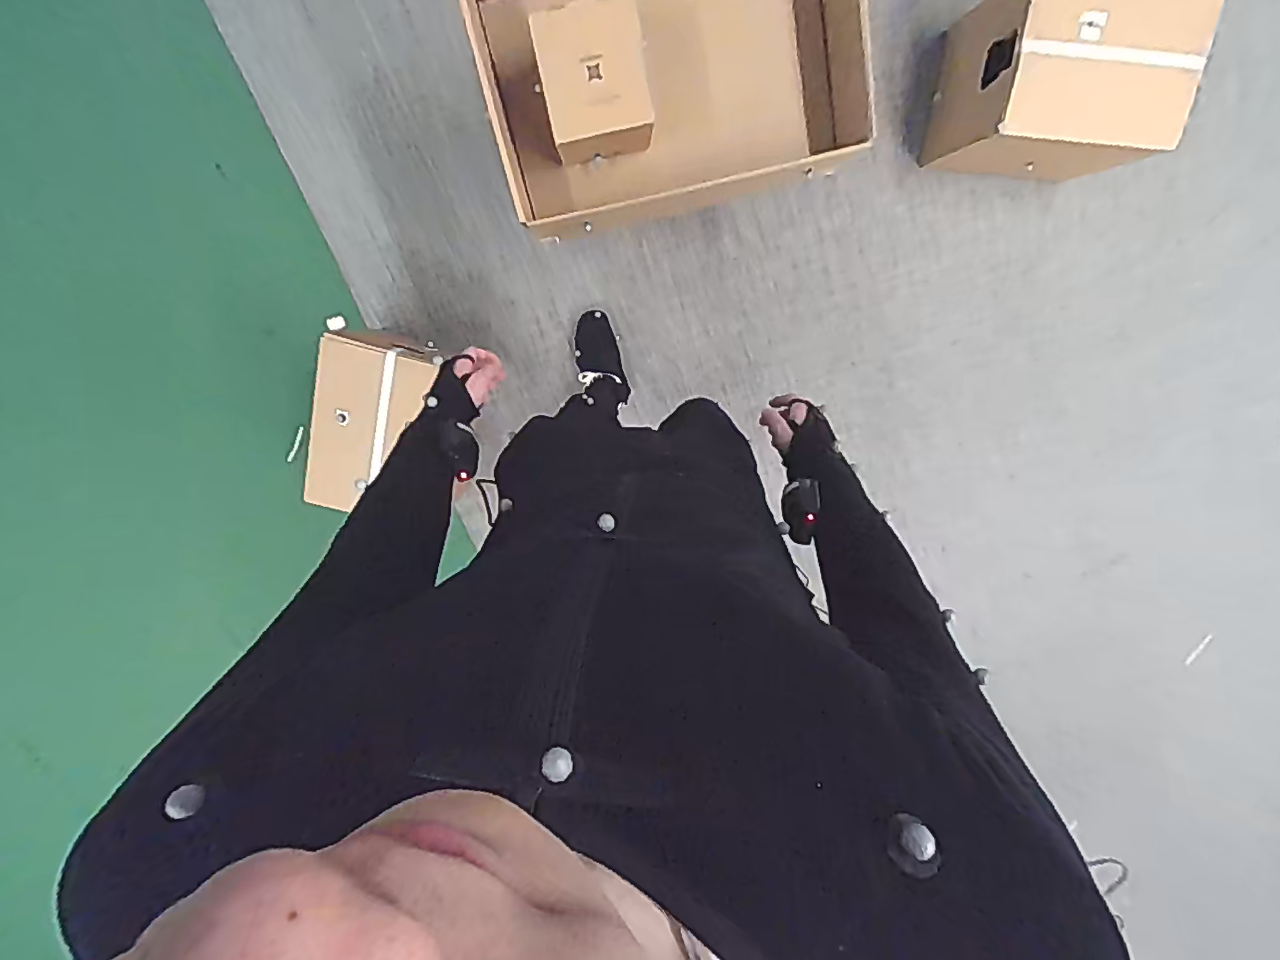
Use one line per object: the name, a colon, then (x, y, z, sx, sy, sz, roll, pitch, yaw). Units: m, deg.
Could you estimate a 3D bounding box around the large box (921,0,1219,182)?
large box: (0.950, -0.899, 1.251, 0.408, 0.320, 0.320, 3, 107, -3)
